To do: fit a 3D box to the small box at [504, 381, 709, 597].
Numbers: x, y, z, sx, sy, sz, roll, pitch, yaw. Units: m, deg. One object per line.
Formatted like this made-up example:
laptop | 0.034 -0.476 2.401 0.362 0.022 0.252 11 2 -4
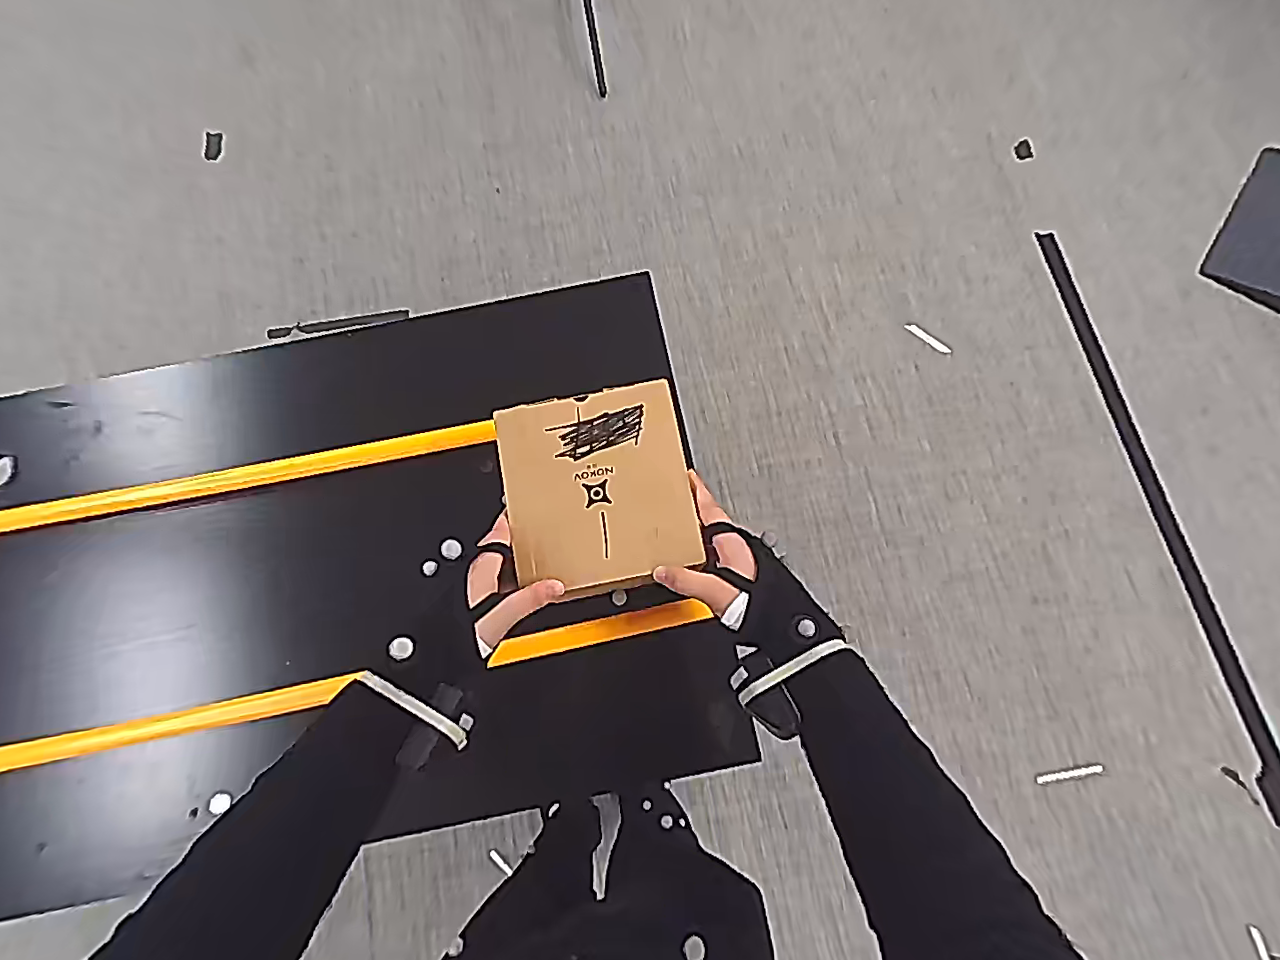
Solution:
small box | -0.032 0.021 0.566 0.168 0.176 0.179 -11 77 0
